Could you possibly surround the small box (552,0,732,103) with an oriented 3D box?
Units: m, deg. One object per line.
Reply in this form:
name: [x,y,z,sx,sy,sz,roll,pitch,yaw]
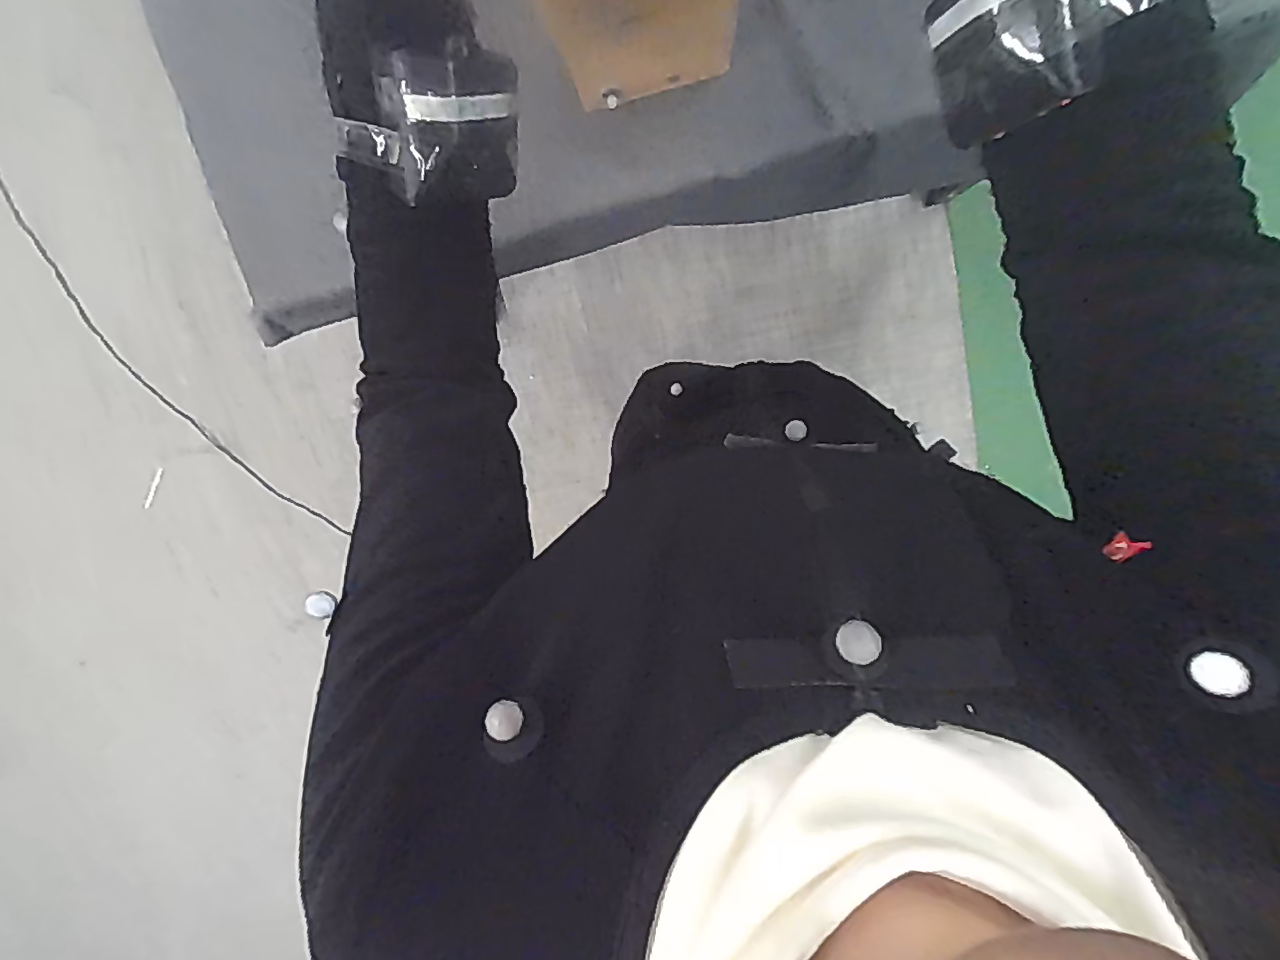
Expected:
small box: [-0.006,-0.503,0.522,0.168,0.176,0.179,-12,99,6]
